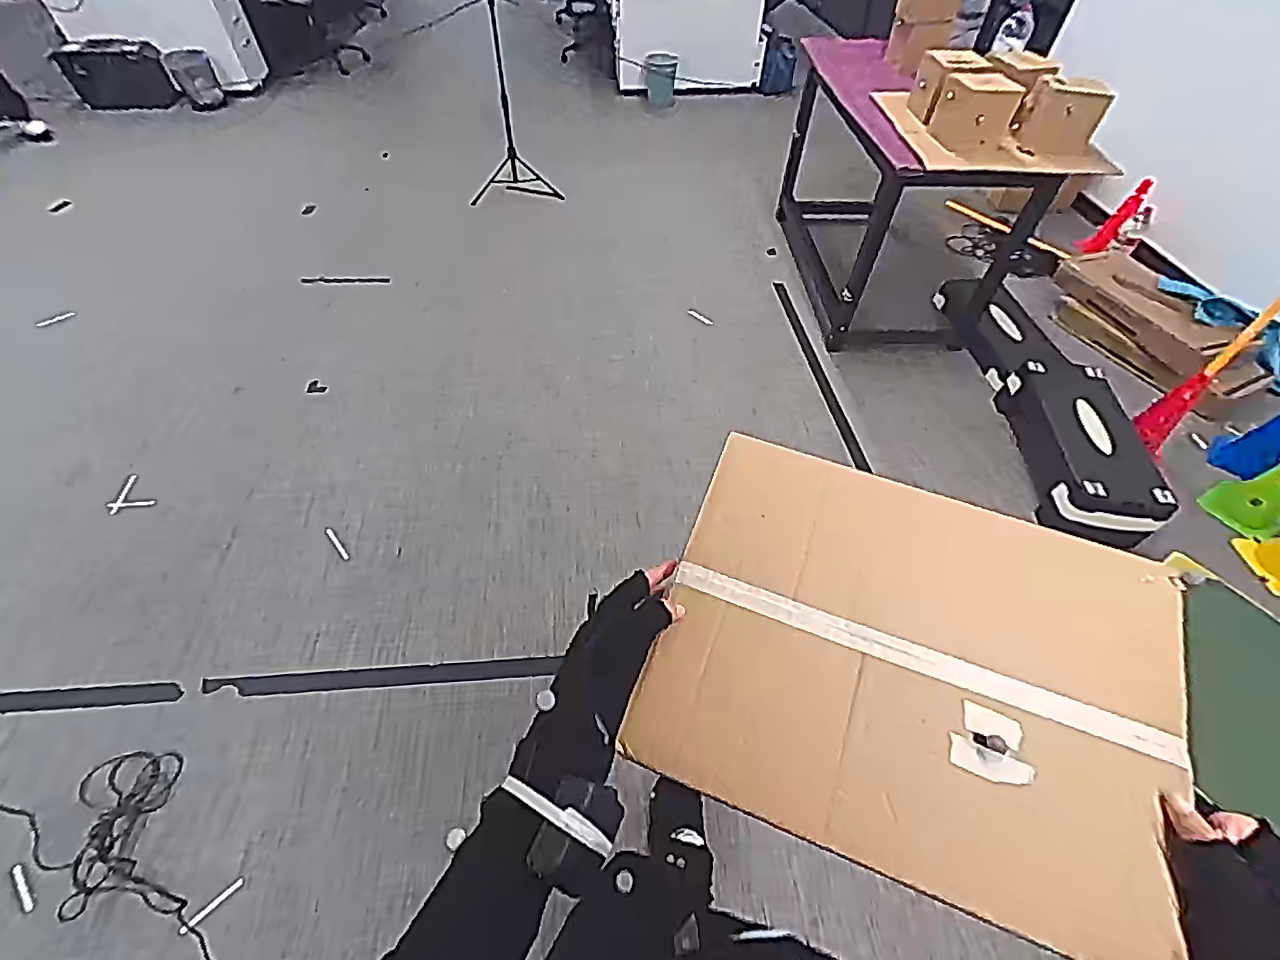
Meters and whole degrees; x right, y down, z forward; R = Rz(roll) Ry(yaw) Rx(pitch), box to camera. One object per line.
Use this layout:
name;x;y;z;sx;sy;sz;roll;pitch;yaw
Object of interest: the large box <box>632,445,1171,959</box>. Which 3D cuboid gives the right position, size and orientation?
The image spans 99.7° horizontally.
large box;0.233;0.215;0.596;0.408;0.320;0.320;19;67;11
